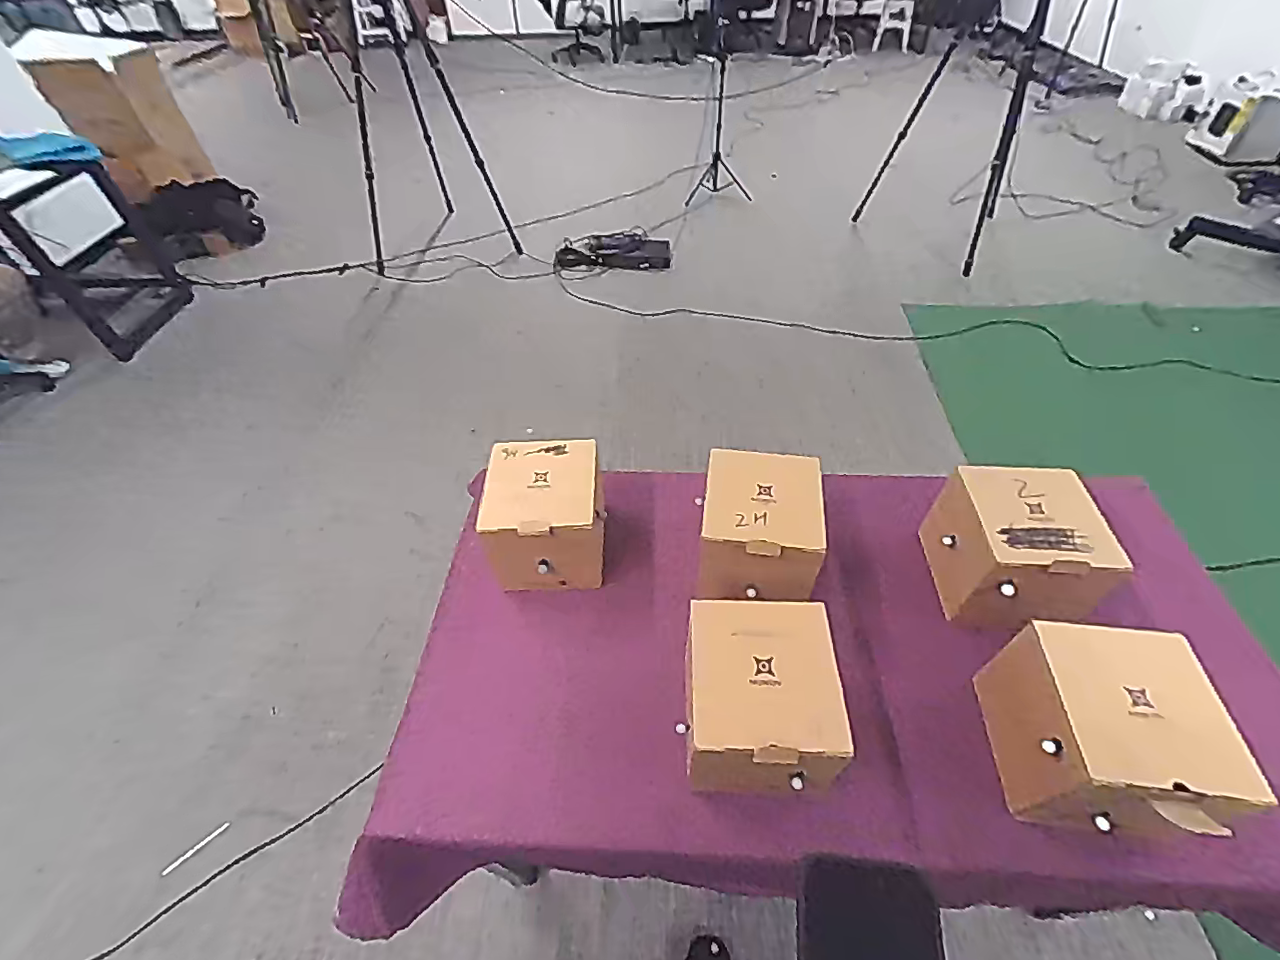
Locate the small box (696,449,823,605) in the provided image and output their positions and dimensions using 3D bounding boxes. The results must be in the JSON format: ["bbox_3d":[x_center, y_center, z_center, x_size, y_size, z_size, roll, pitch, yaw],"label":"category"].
[{"bbox_3d":[0.178,0.078,0.832,0.168,0.176,0.179,6,49,8],"label":"small box"}]

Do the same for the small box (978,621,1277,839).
[{"bbox_3d":[0.528,0.289,0.627,0.168,0.176,0.179,4,49,7],"label":"small box"}]

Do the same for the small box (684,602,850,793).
[{"bbox_3d":[0.141,0.269,0.665,0.168,0.176,0.179,1,47,3],"label":"small box"}]

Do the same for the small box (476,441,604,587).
[{"bbox_3d":[-0.147,0.060,0.864,0.168,0.176,0.179,-2,49,0],"label":"small box"}]
